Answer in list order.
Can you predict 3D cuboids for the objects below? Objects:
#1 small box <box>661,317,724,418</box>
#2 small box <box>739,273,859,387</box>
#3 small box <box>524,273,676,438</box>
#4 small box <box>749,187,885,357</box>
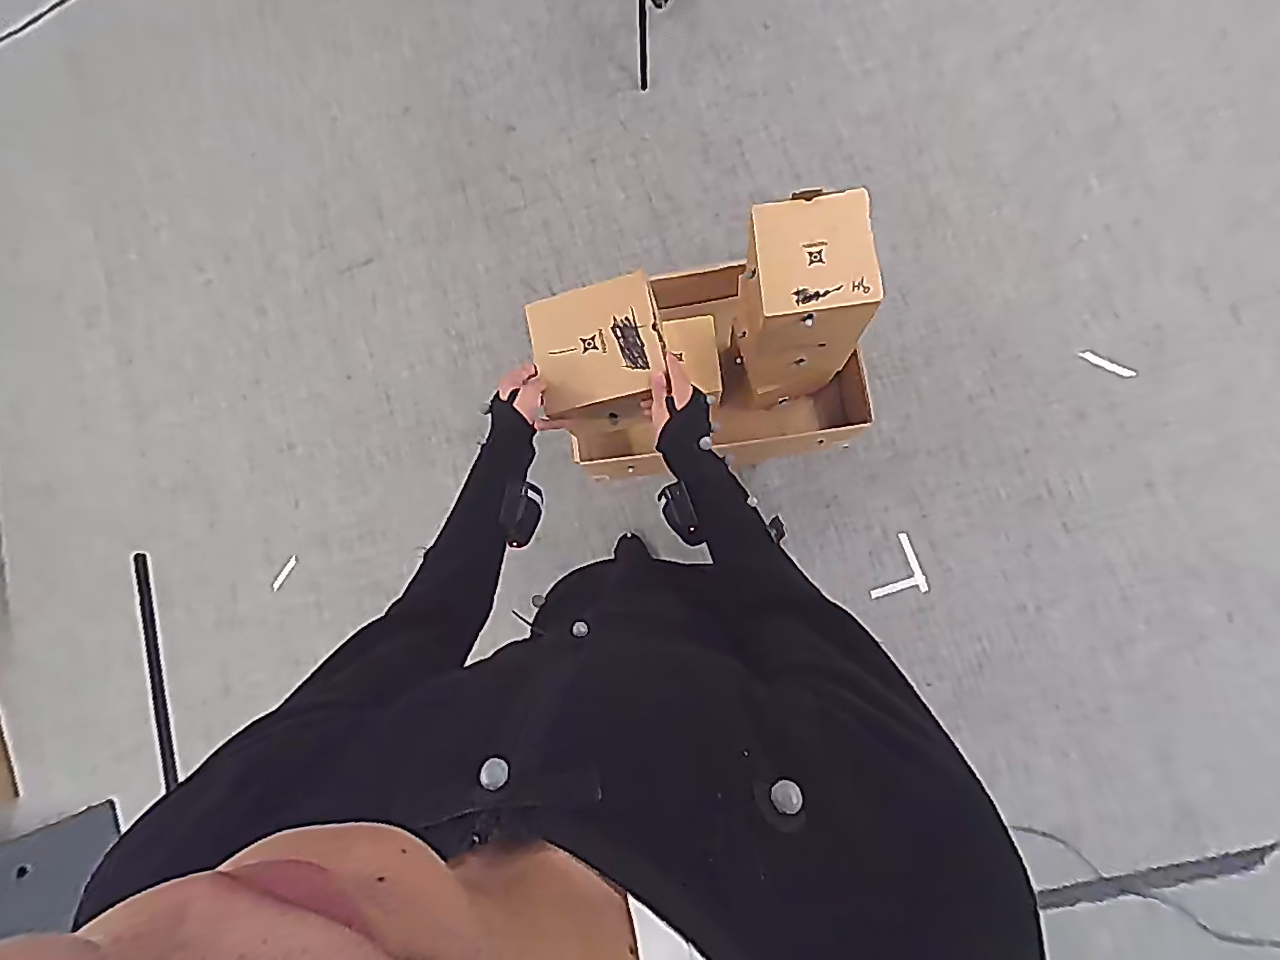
[{"bbox_3d":[0.085,-0.238,1.184,0.179,0.176,0.168,-6,82,6],"label":"small box"},{"bbox_3d":[0.283,-0.284,0.995,0.179,0.176,0.168,-11,82,7],"label":"small box"},{"bbox_3d":[-0.047,-0.170,0.794,0.179,0.176,0.168,-13,81,9],"label":"small box"},{"bbox_3d":[0.260,-0.309,0.834,0.168,0.176,0.179,-5,81,8],"label":"small box"}]
